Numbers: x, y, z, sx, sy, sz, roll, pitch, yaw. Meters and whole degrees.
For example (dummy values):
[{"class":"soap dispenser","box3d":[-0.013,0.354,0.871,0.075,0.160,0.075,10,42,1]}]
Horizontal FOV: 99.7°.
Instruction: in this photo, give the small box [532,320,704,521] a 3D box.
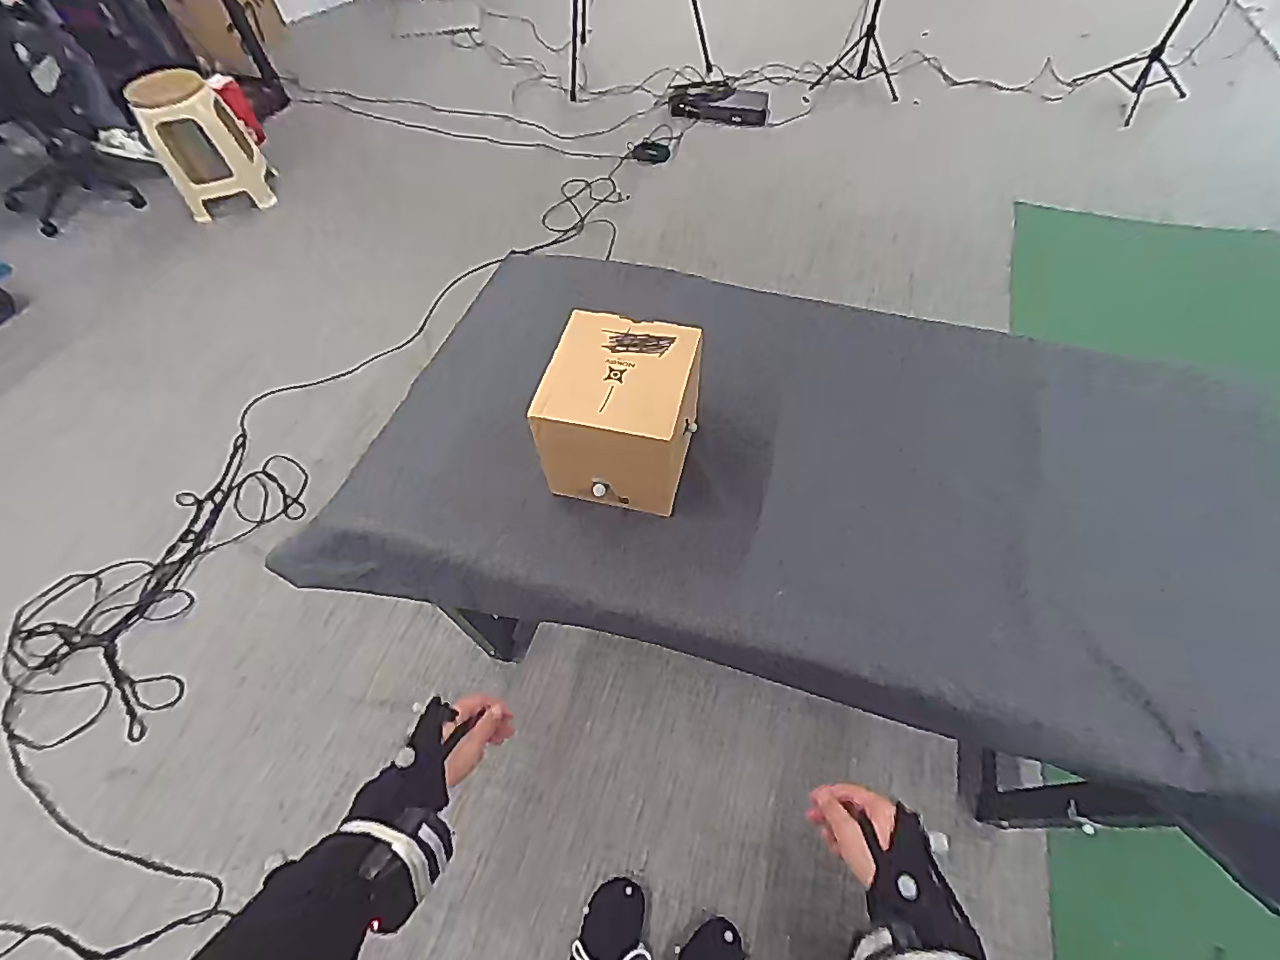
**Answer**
[{"class":"small box","box3d":[-0.020,-0.073,0.694,0.168,0.176,0.179,11,58,10]}]
